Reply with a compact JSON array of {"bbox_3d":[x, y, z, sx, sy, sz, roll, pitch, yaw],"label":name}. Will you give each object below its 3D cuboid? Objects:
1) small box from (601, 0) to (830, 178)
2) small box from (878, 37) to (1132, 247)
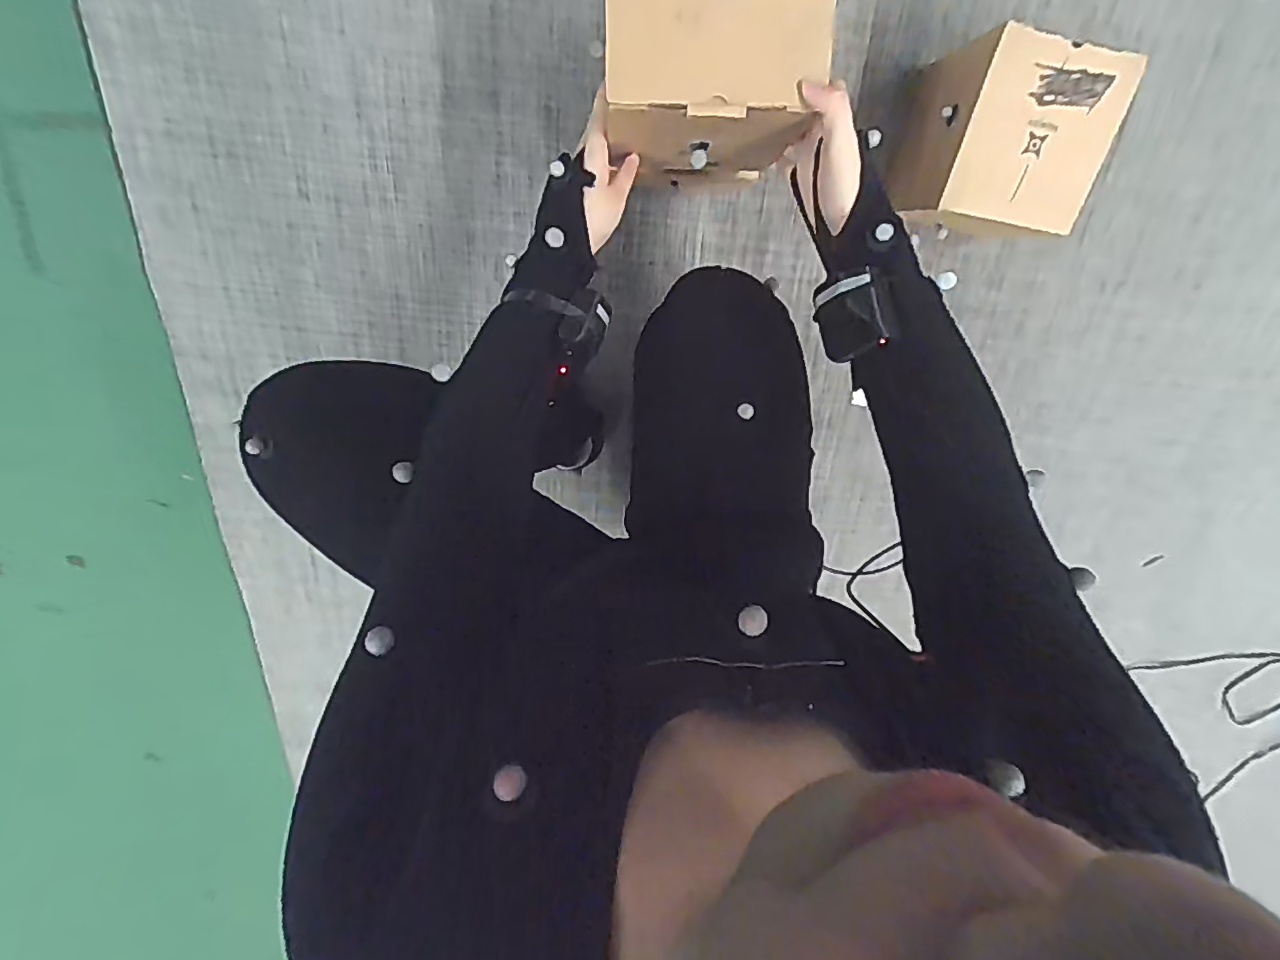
[{"bbox_3d":[0.052,-0.371,0.459,0.168,0.176,0.179,0,107,-3],"label":"small box"},{"bbox_3d":[0.426,-0.398,0.670,0.168,0.176,0.179,9,113,-5],"label":"small box"}]
